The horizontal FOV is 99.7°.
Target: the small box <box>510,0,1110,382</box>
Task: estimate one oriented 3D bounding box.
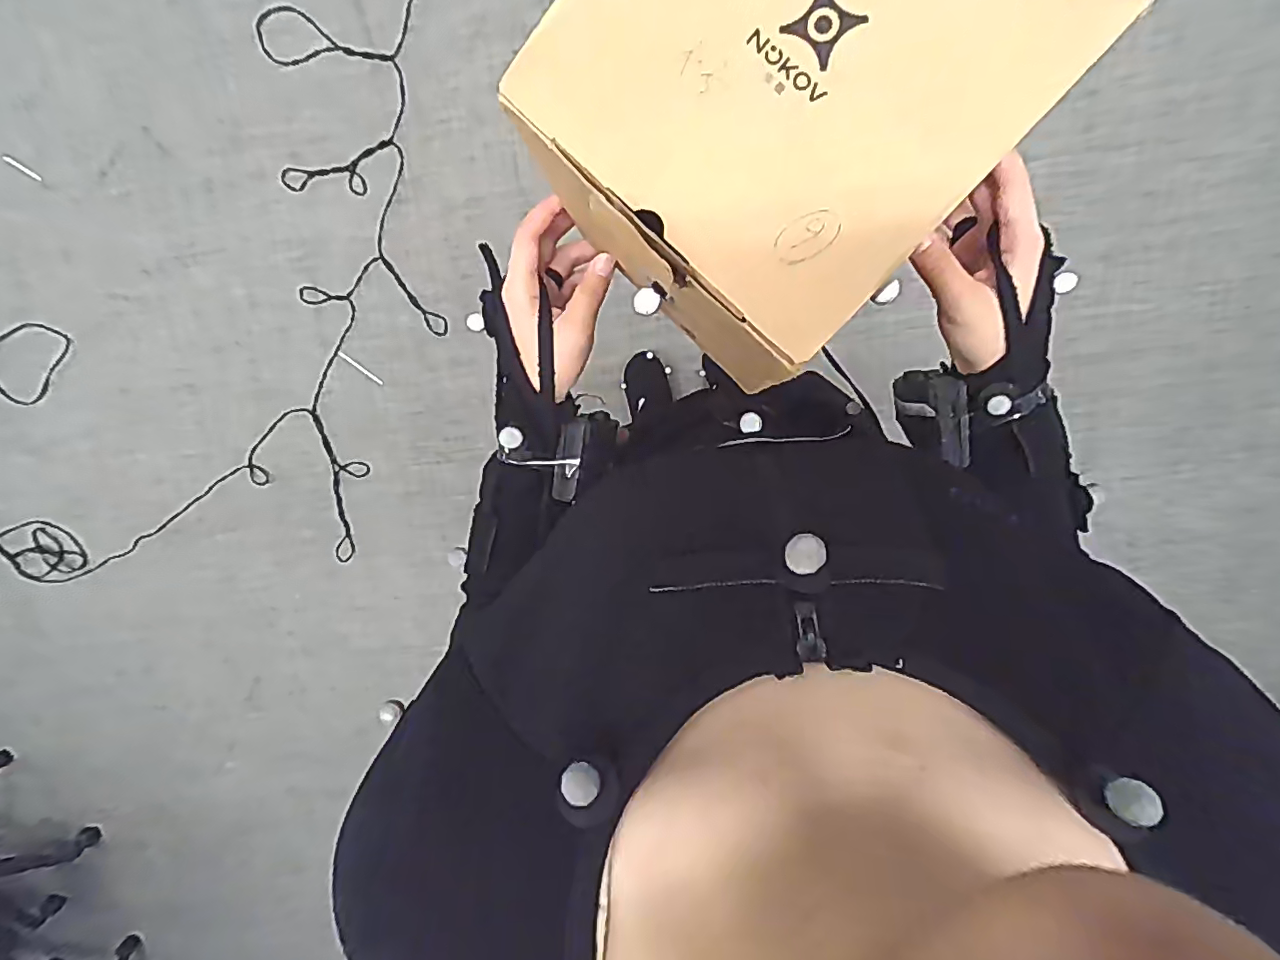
[{"bbox_3d":[0.069,-0.170,0.292,0.168,0.176,0.179,43,99,0],"label":"small box"}]
